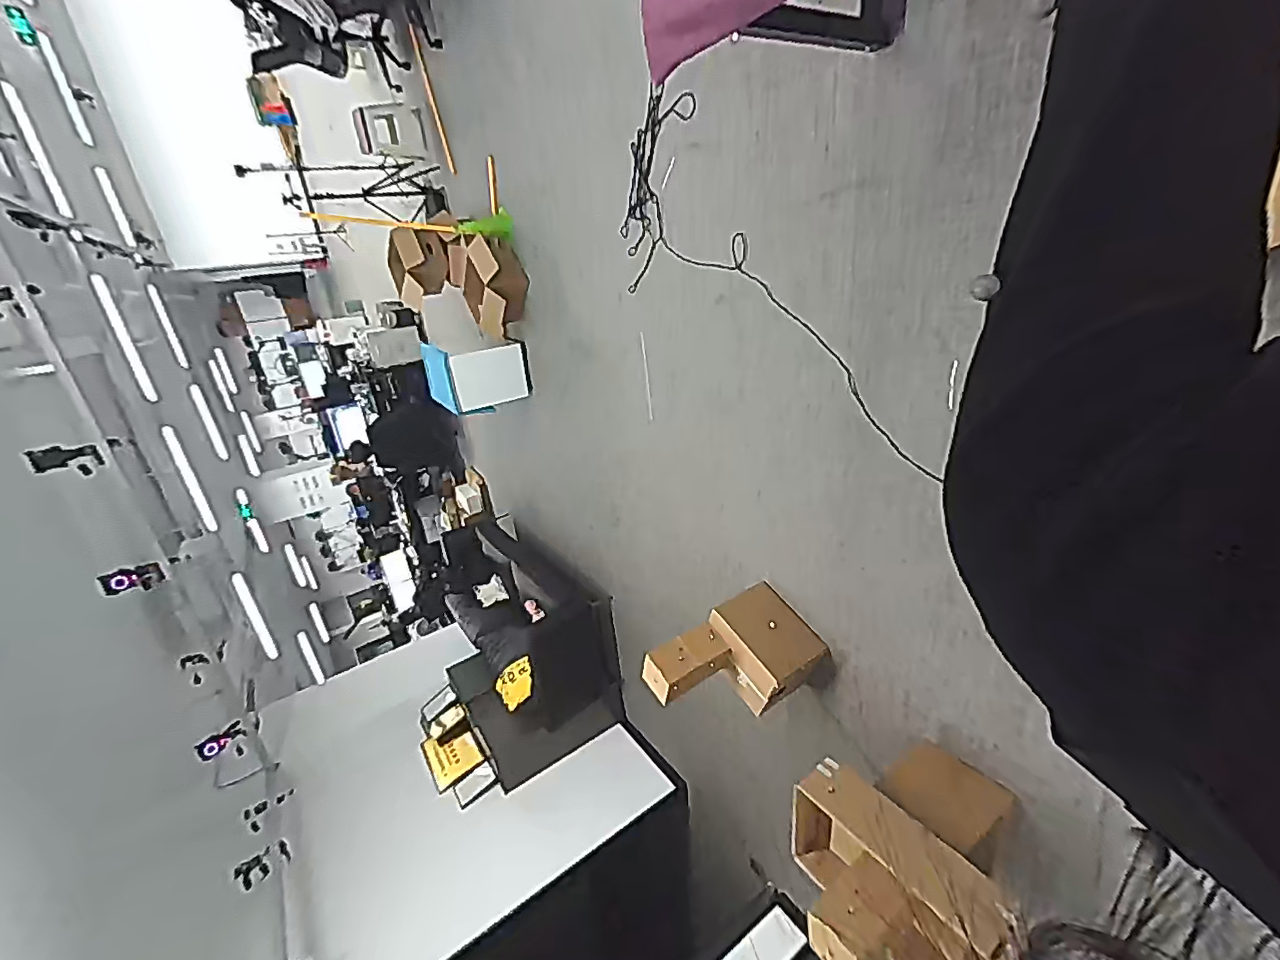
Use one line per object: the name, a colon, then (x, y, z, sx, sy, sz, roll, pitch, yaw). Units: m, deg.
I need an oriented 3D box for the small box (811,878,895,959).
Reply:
small box: (0.618, 1.319, 1.568, 0.168, 0.176, 0.179, 22, 124, 53)

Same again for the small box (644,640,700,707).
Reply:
small box: (0.135, 0.814, 2.287, 0.168, 0.176, 0.179, 44, 142, 38)

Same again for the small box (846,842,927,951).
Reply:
small box: (0.750, 1.271, 1.653, 0.168, 0.176, 0.179, 24, 126, 51)
